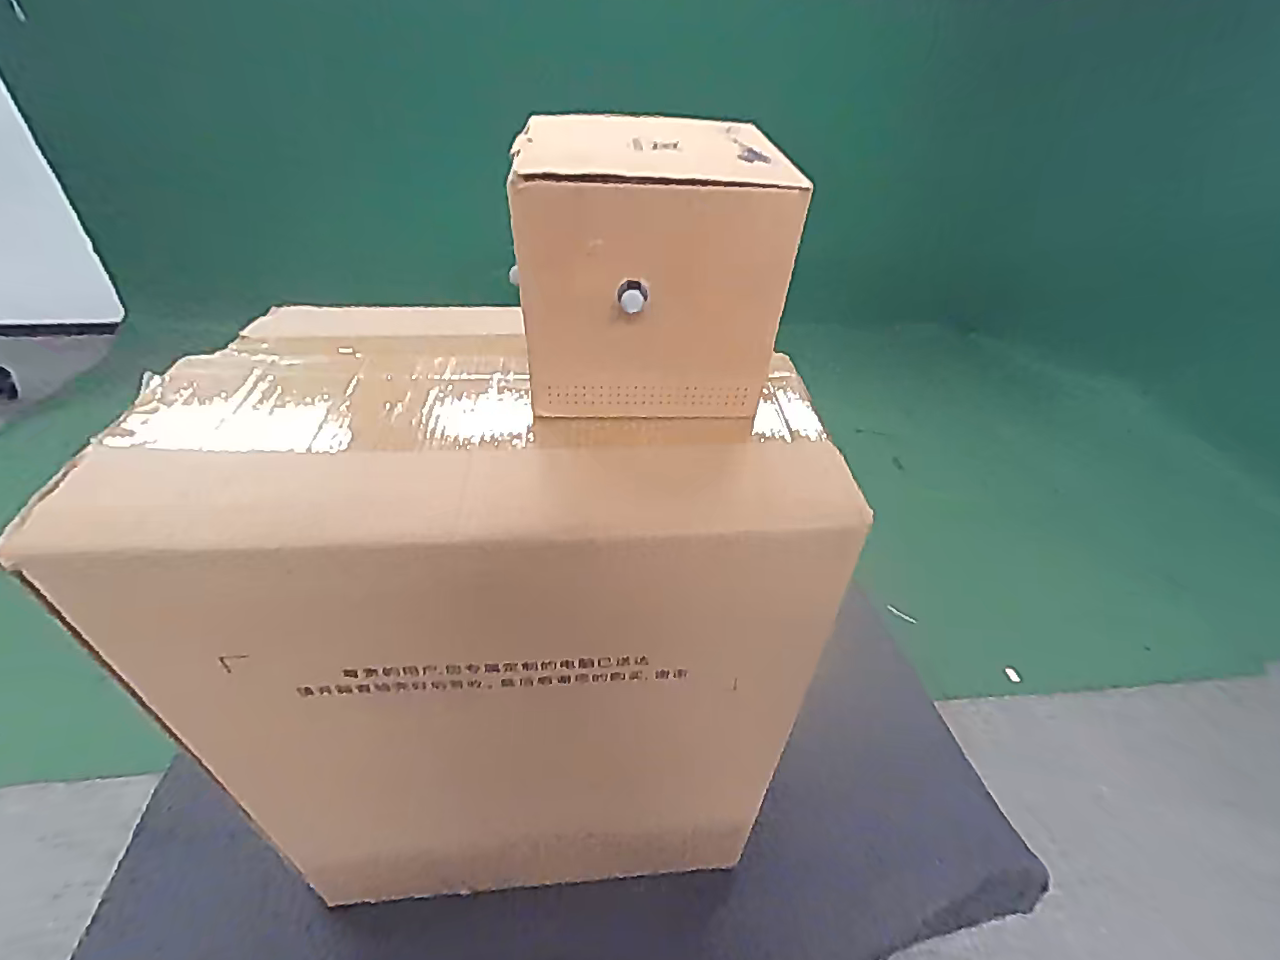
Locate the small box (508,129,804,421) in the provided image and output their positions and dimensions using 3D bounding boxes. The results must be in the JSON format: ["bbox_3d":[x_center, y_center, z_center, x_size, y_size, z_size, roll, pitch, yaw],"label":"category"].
[{"bbox_3d":[0.005,-0.158,0.421,0.179,0.176,0.168,-1,44,-4],"label":"small box"}]
